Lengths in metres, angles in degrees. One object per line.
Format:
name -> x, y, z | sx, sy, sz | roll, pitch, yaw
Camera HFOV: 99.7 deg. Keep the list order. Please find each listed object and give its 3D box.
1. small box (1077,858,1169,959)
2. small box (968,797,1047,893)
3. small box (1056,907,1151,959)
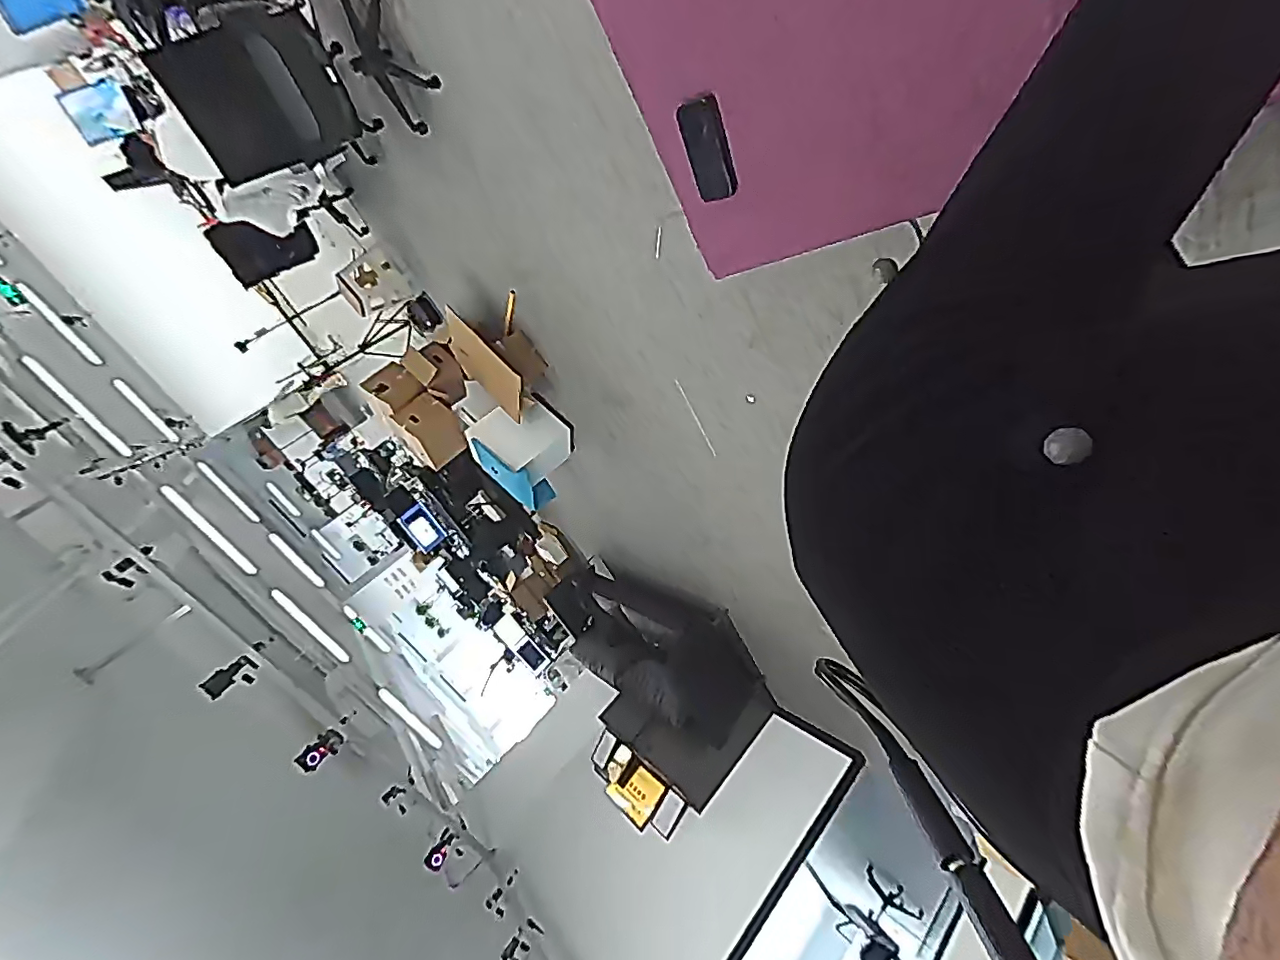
small box -> 1.404, 1.258, 1.570 | 0.168, 0.176, 0.179 | 12, 137, 52
small box -> 1.225, 1.206, 1.799 | 0.168, 0.176, 0.179 | 13, 137, 53
small box -> 1.291, 1.354, 1.503 | 0.168, 0.176, 0.179 | 12, 137, 52
